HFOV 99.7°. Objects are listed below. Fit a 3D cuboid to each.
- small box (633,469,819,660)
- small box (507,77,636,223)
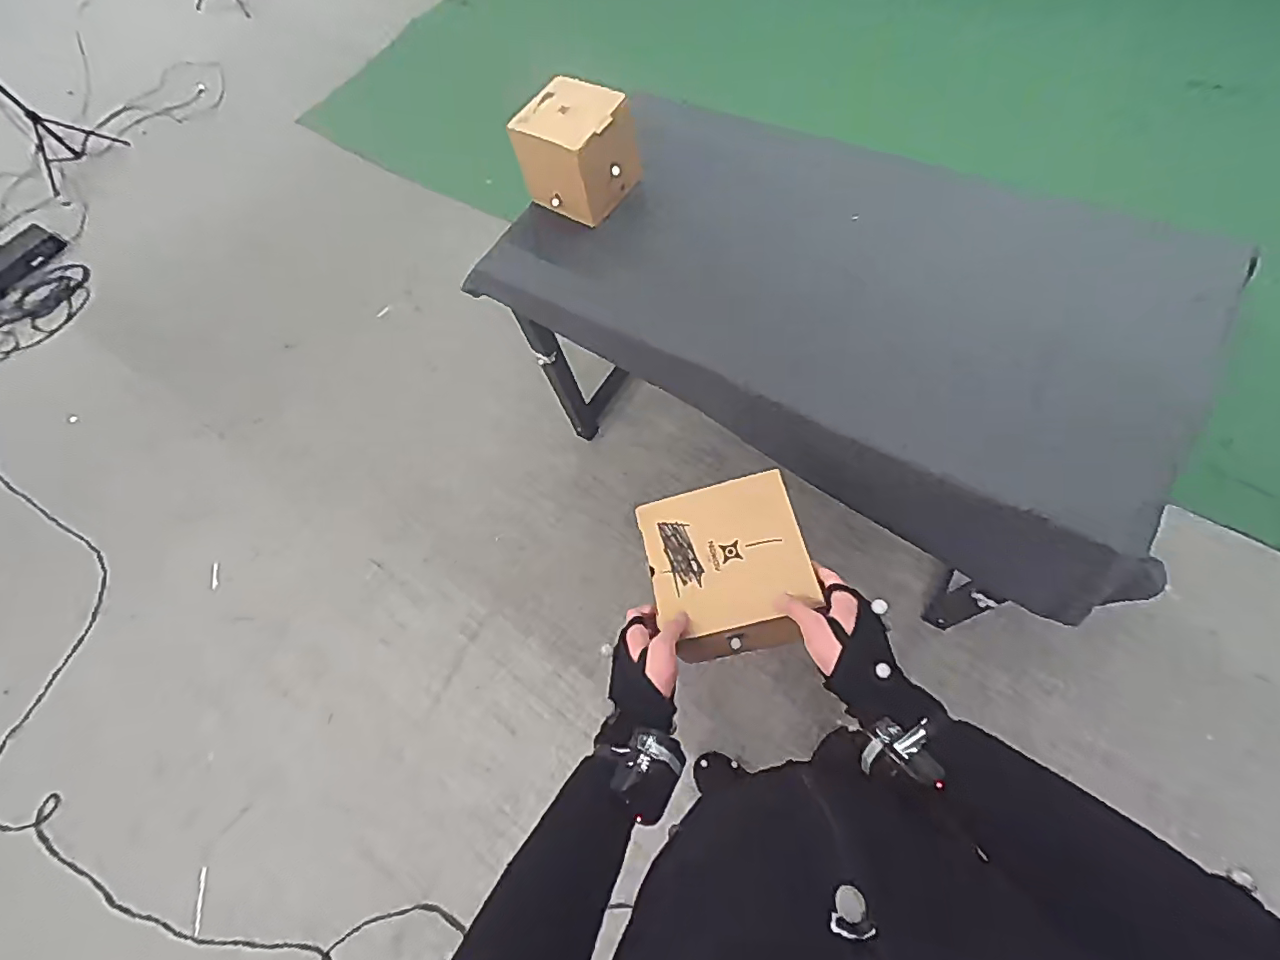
[{"bbox_3d":[0.105,0.113,0.659,0.179,0.176,0.168,-15,62,7],"label":"small box"},{"bbox_3d":[-0.125,-0.648,1.077,0.179,0.176,0.168,31,74,19],"label":"small box"}]
